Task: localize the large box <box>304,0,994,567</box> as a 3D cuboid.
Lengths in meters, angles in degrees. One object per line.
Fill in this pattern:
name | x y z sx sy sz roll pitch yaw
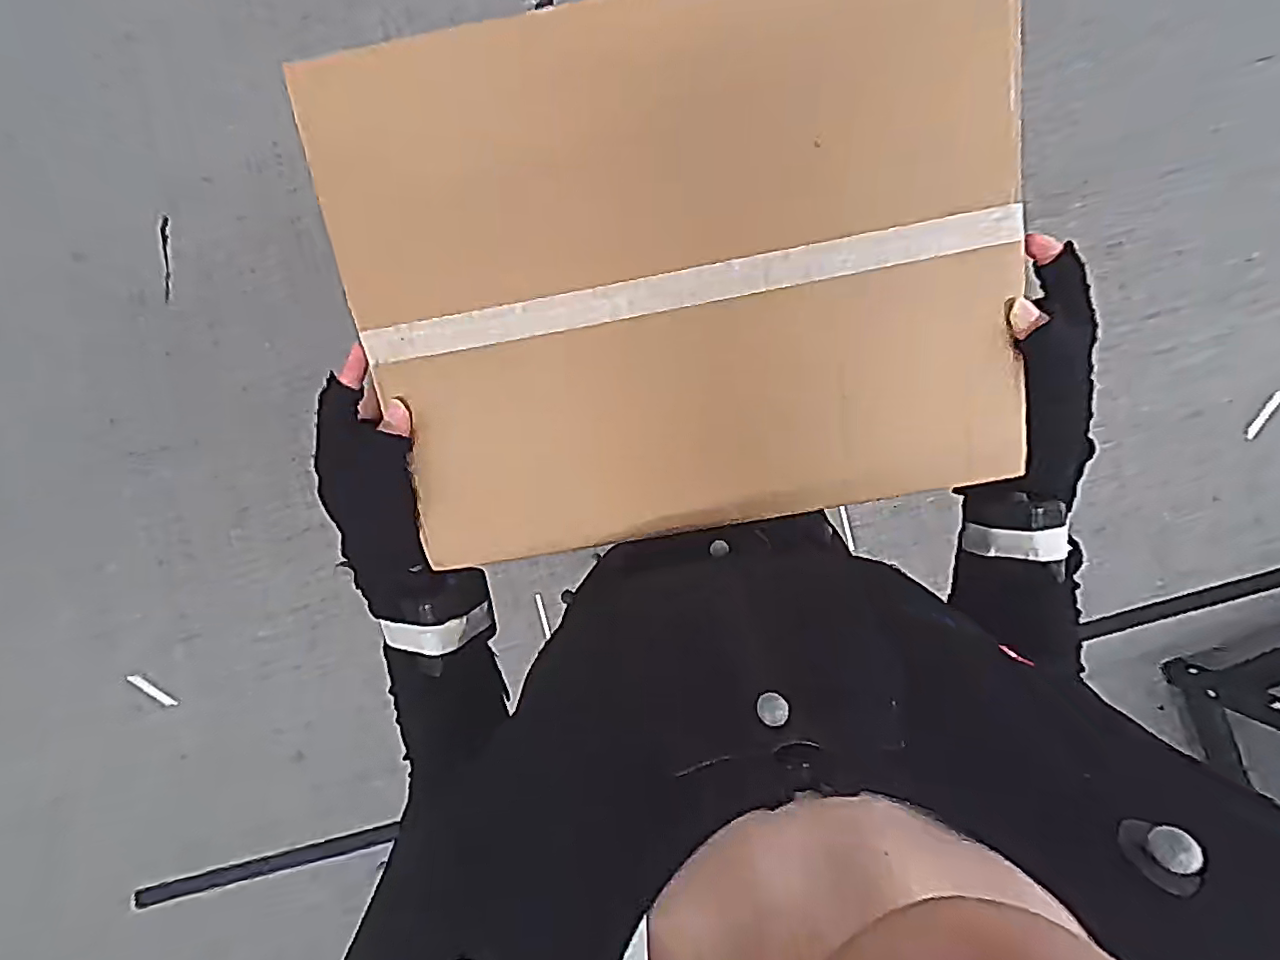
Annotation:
large box | 0.024 -0.154 0.488 0.408 0.320 0.320 -10 103 3
